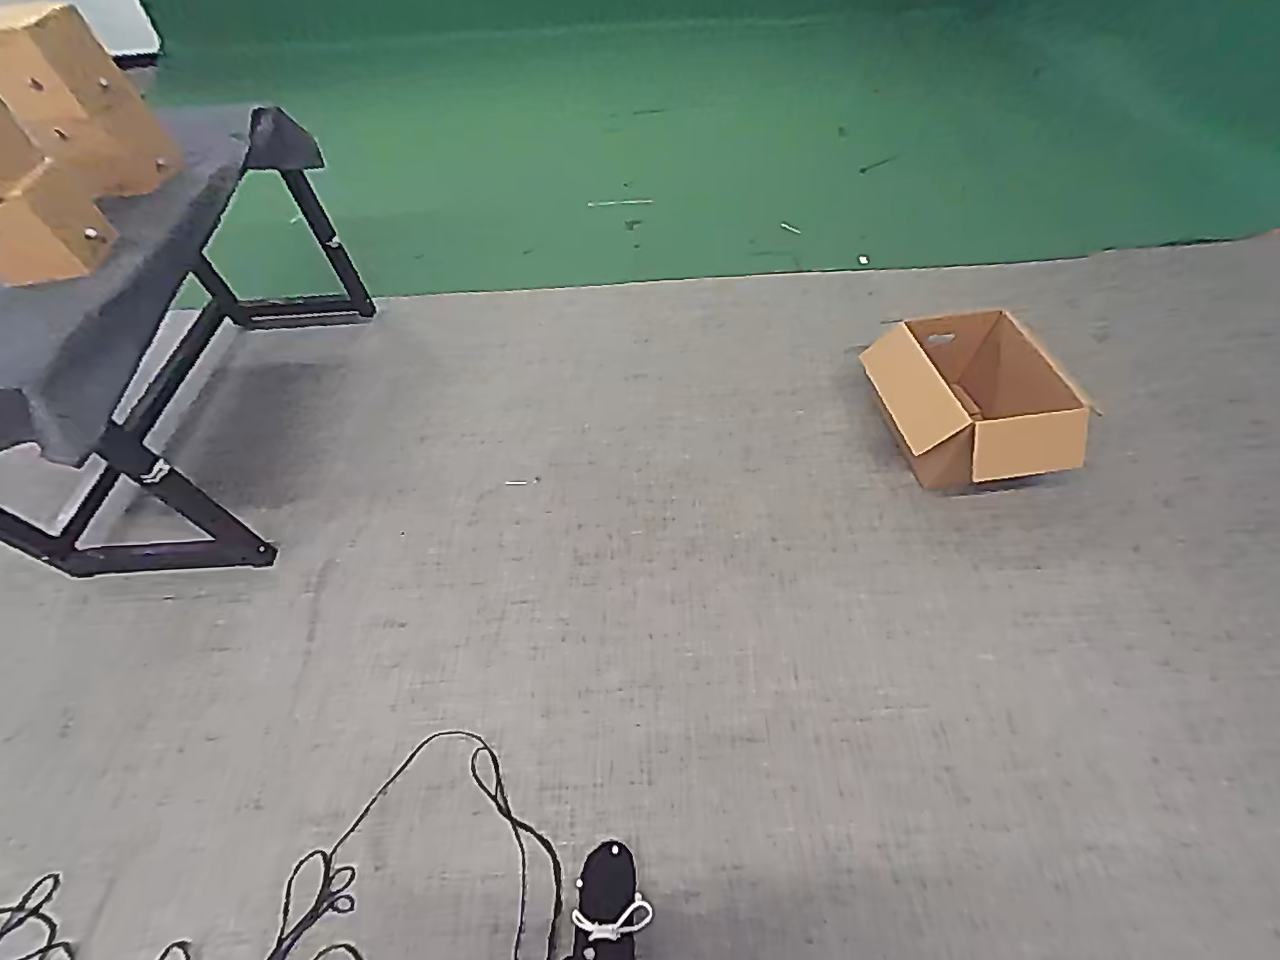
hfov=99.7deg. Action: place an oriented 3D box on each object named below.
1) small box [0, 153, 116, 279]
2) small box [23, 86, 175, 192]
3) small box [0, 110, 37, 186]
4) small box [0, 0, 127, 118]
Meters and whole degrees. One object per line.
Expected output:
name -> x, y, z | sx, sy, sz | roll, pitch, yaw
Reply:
small box -> -1.248, -0.530, 1.099 | 0.179, 0.176, 0.168 | -11, 55, -5
small box -> -1.290, -0.824, 1.310 | 0.168, 0.176, 0.179 | -3, 54, 2
small box -> -1.271, -0.626, 0.969 | 0.168, 0.176, 0.179 | -7, 54, -3
small box -> -1.301, -0.919, 1.171 | 0.168, 0.176, 0.179 | -2, 55, 2
